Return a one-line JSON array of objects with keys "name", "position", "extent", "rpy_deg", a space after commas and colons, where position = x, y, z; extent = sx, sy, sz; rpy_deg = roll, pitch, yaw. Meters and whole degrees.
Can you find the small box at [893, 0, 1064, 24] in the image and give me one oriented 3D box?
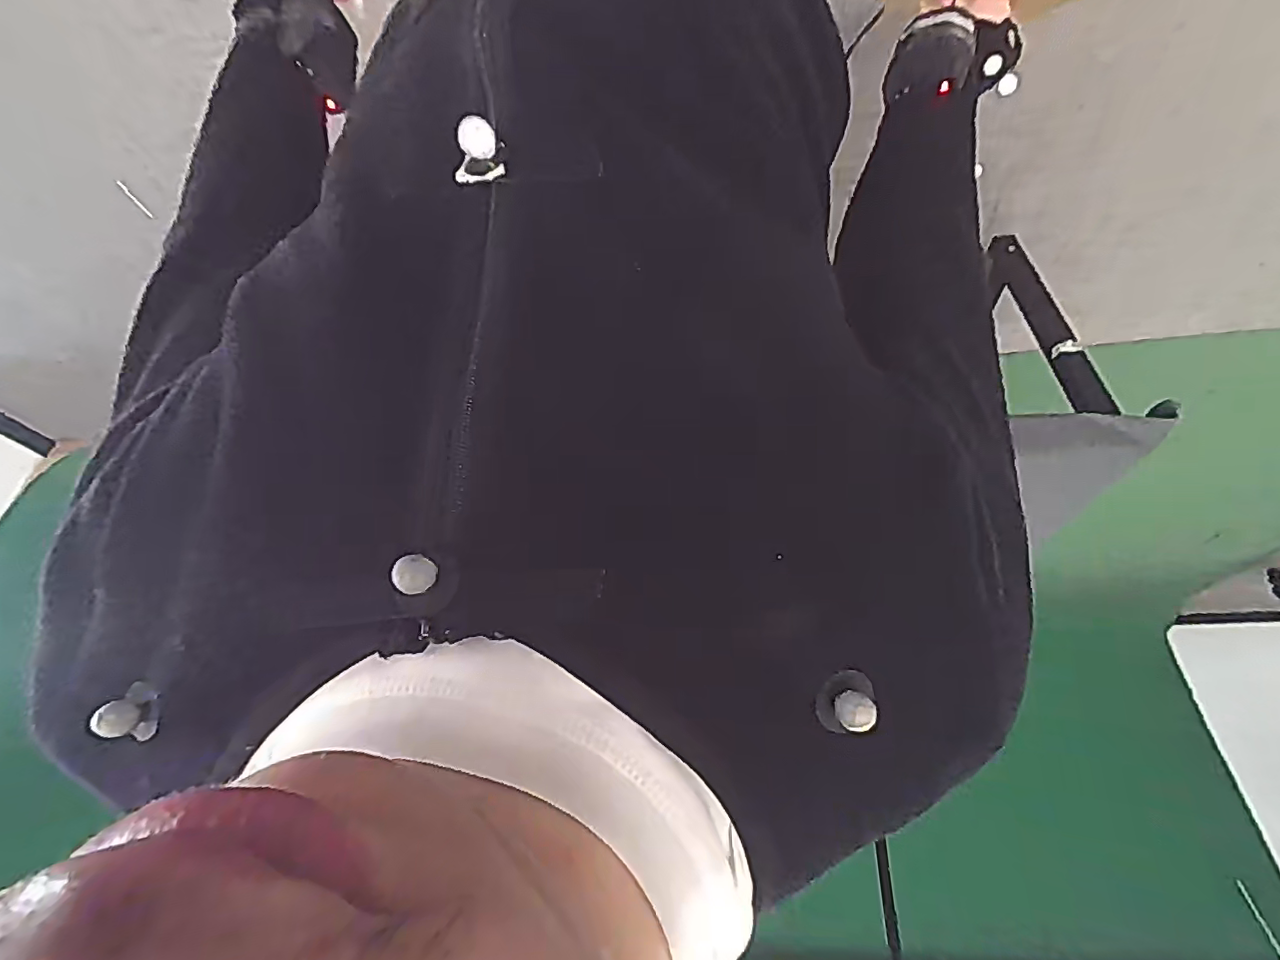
[{"name": "small box", "position": [0.339, -0.549, 0.494], "extent": [0.168, 0.176, 0.179], "rpy_deg": [15, 124, 6]}]
